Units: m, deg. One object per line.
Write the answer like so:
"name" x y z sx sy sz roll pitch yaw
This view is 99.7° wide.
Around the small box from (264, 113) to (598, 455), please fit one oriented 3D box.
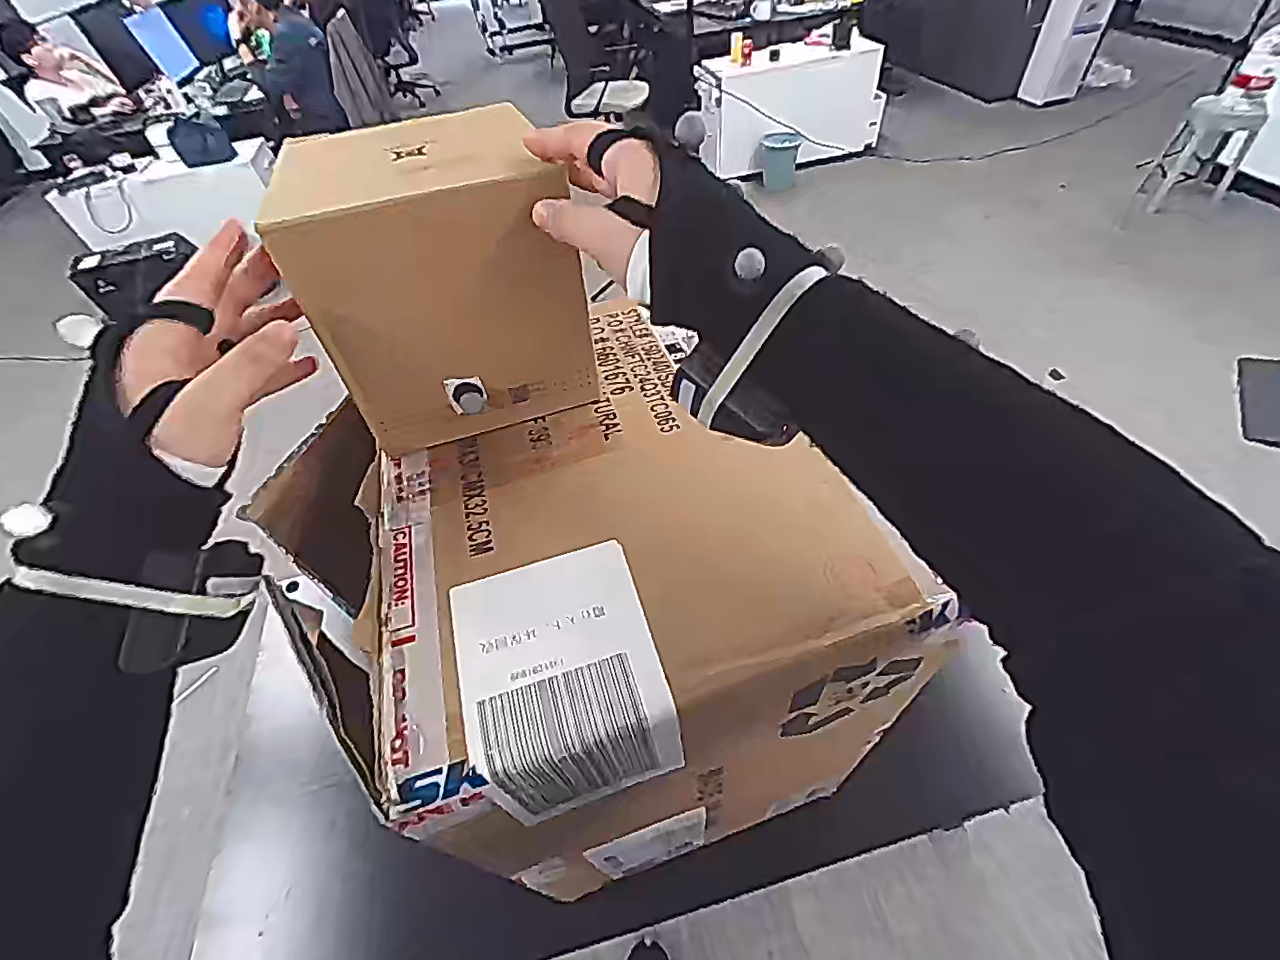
"small box" -0.141 -0.149 0.407 0.168 0.176 0.179 -19 48 -10
